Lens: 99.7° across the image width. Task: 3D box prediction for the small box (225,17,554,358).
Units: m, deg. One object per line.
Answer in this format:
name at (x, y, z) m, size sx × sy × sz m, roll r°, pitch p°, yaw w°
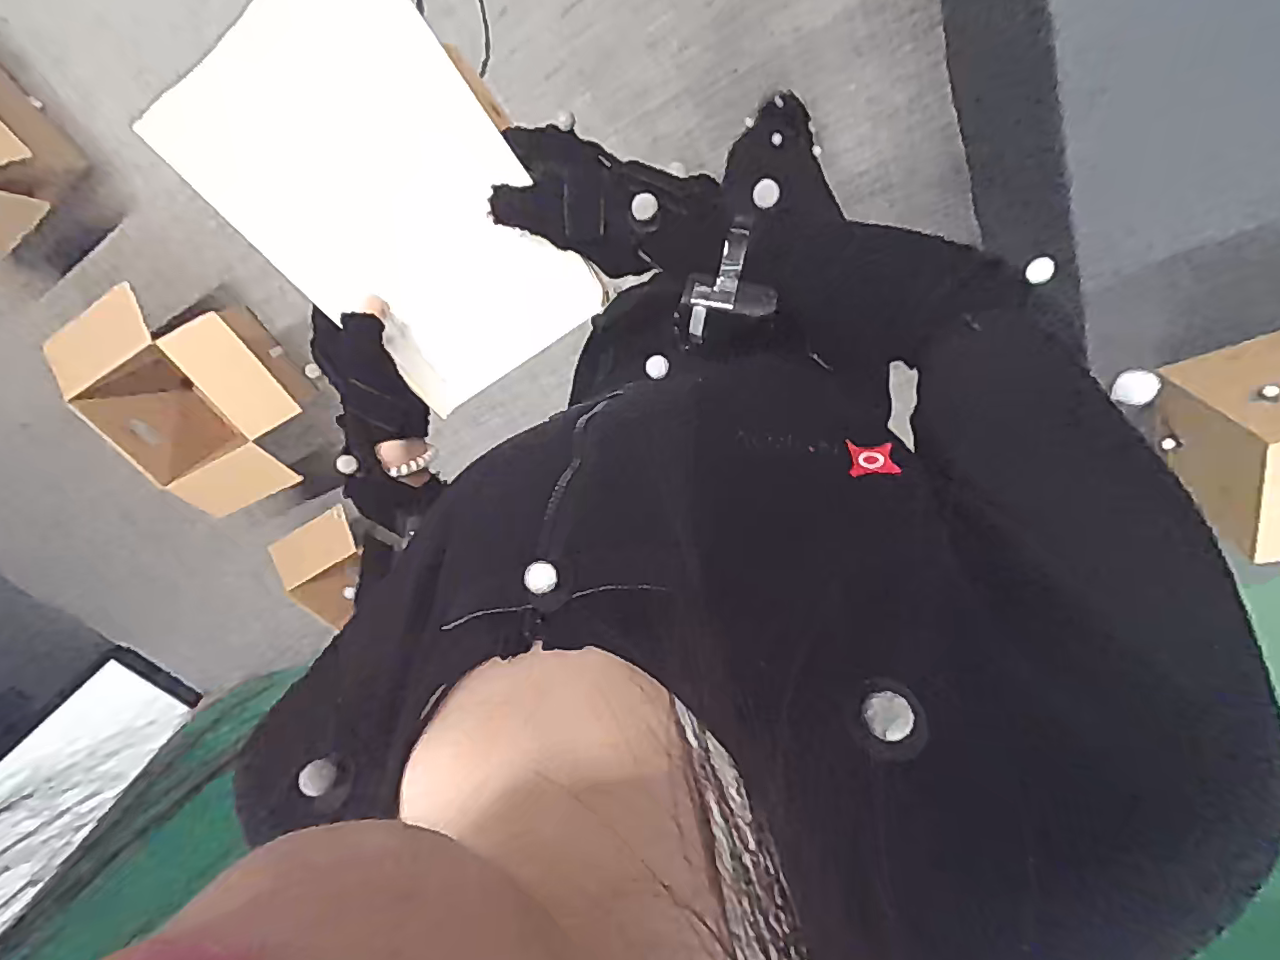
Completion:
small box at (-0.190, -0.246, 0.467) m, size 0.179 × 0.176 × 0.168 m, roll -31°, pitch 121°, yaw 21°
